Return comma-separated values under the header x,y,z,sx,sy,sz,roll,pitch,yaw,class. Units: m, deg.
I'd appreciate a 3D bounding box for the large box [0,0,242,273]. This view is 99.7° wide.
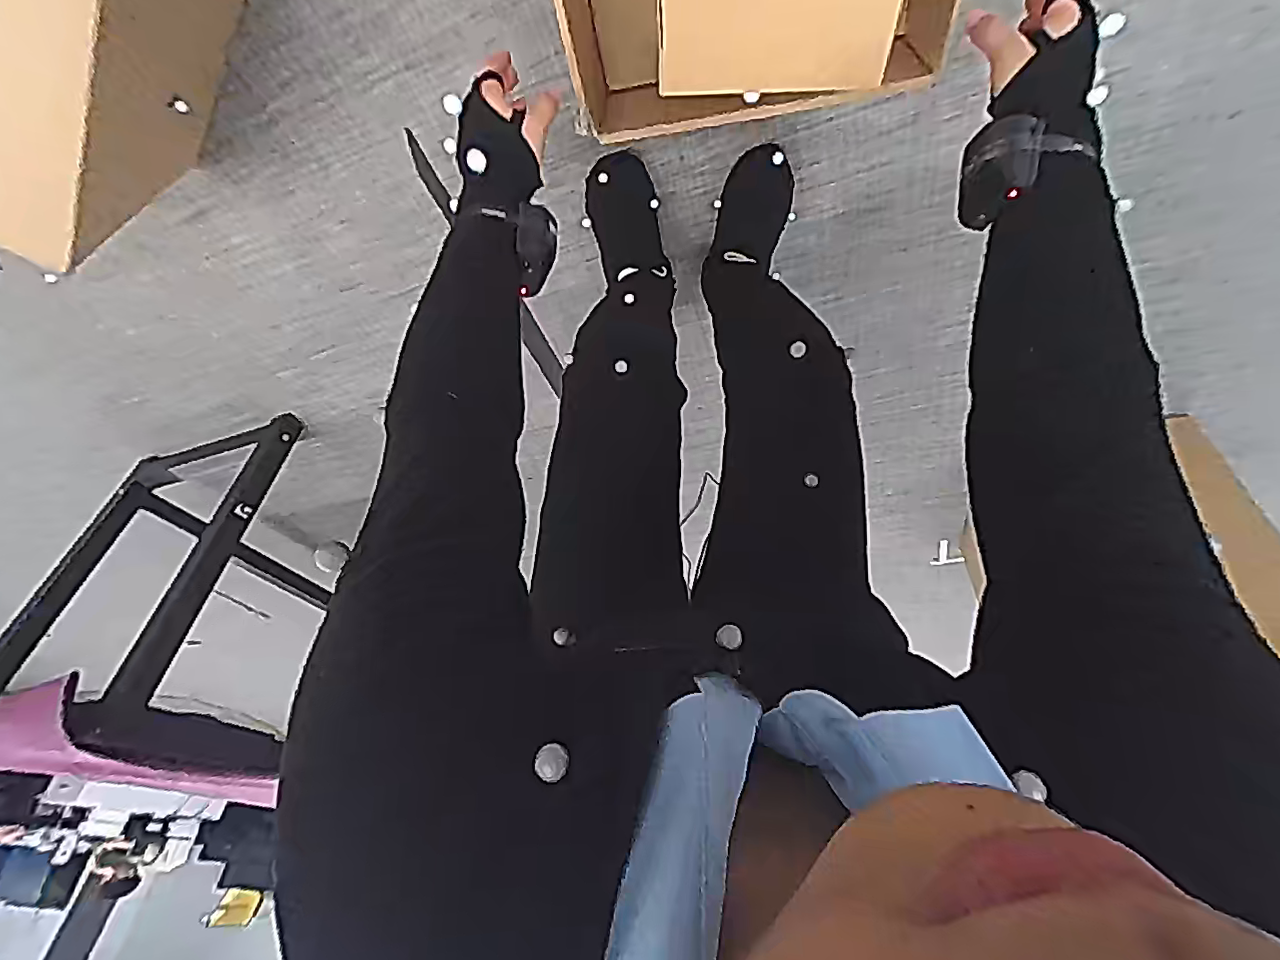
x,y,z,sx,sy,sz,roll,pitch,yaw,class
-0.673,-0.525,0.567,0.320,0.320,0.408,32,135,-31,large box
